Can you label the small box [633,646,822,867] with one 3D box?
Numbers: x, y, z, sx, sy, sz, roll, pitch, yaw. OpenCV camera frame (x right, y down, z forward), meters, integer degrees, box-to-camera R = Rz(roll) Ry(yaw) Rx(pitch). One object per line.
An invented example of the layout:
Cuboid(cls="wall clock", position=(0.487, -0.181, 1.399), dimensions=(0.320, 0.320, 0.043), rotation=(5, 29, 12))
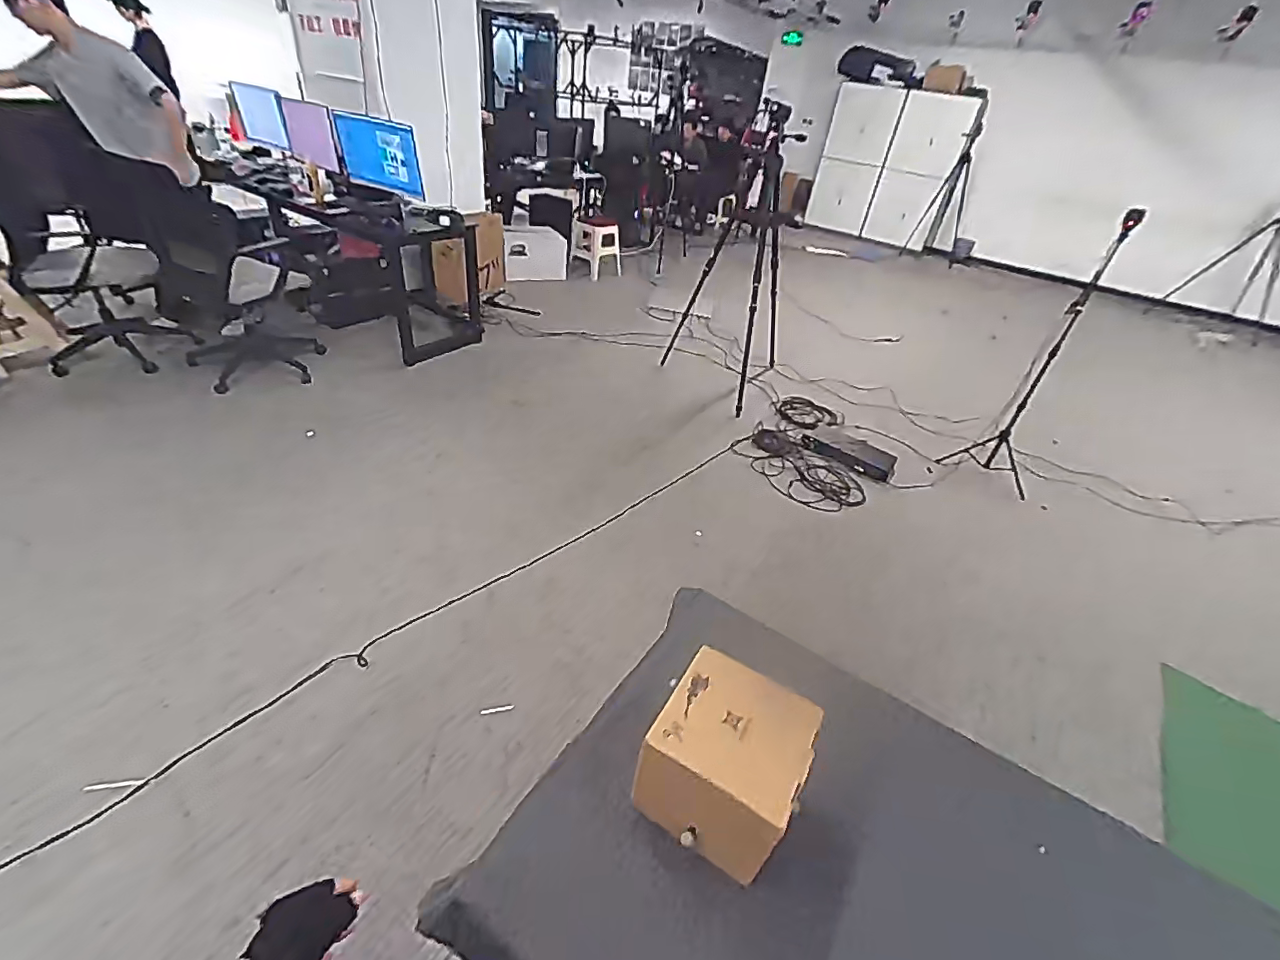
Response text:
Cuboid(cls="small box", position=(0.109, 0.364, 0.710), dimensions=(0.179, 0.176, 0.168), rotation=(25, 39, 20))
